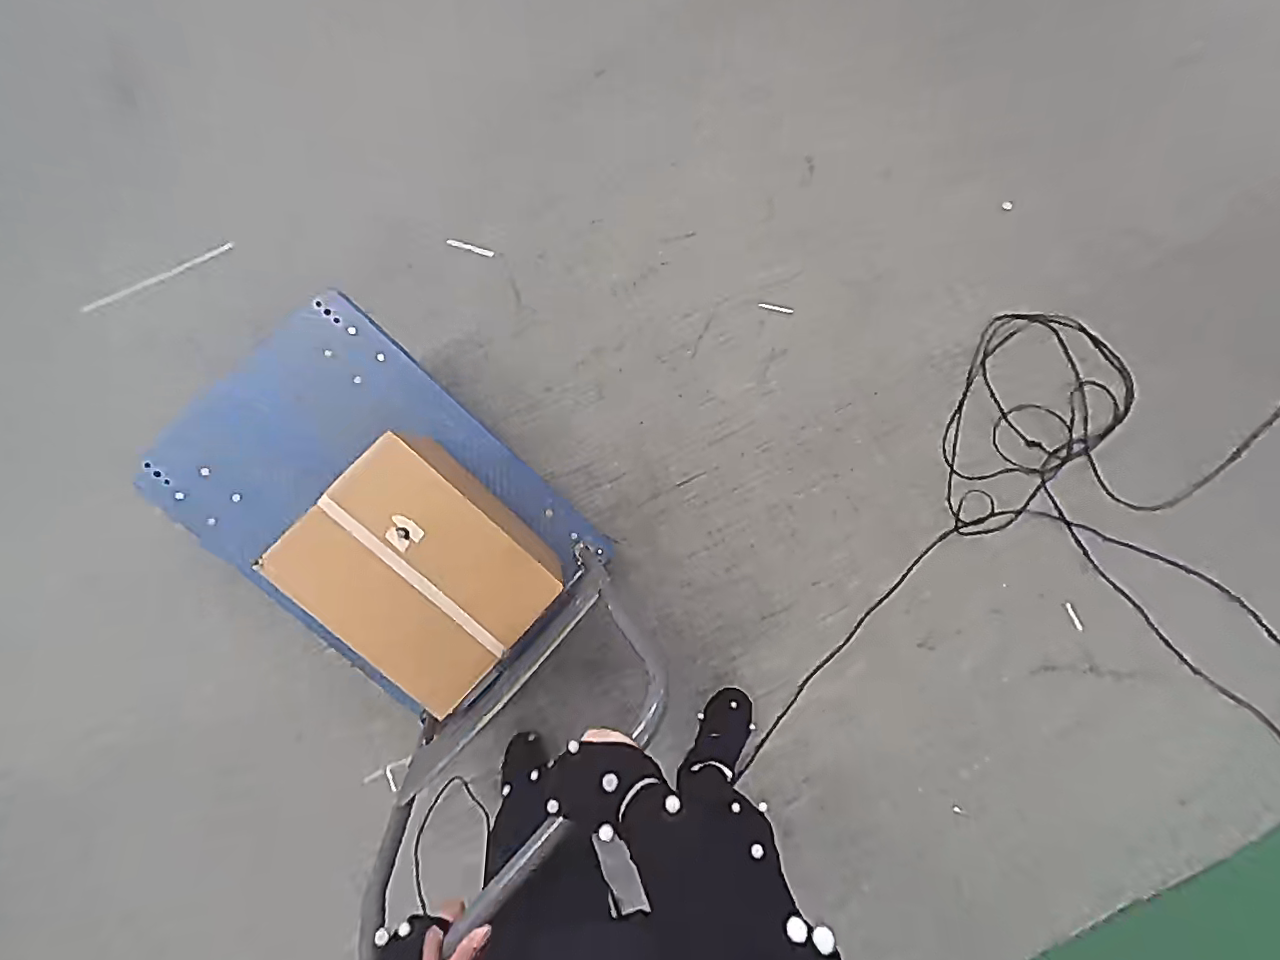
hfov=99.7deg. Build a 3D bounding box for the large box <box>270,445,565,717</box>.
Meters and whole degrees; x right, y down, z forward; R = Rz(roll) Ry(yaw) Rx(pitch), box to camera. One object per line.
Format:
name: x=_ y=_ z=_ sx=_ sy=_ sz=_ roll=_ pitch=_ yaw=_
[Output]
large box: x=-0.397 y=0.177 z=1.088 sx=0.408 sy=0.320 sz=0.320 roll=43 pitch=85 yaw=-7
